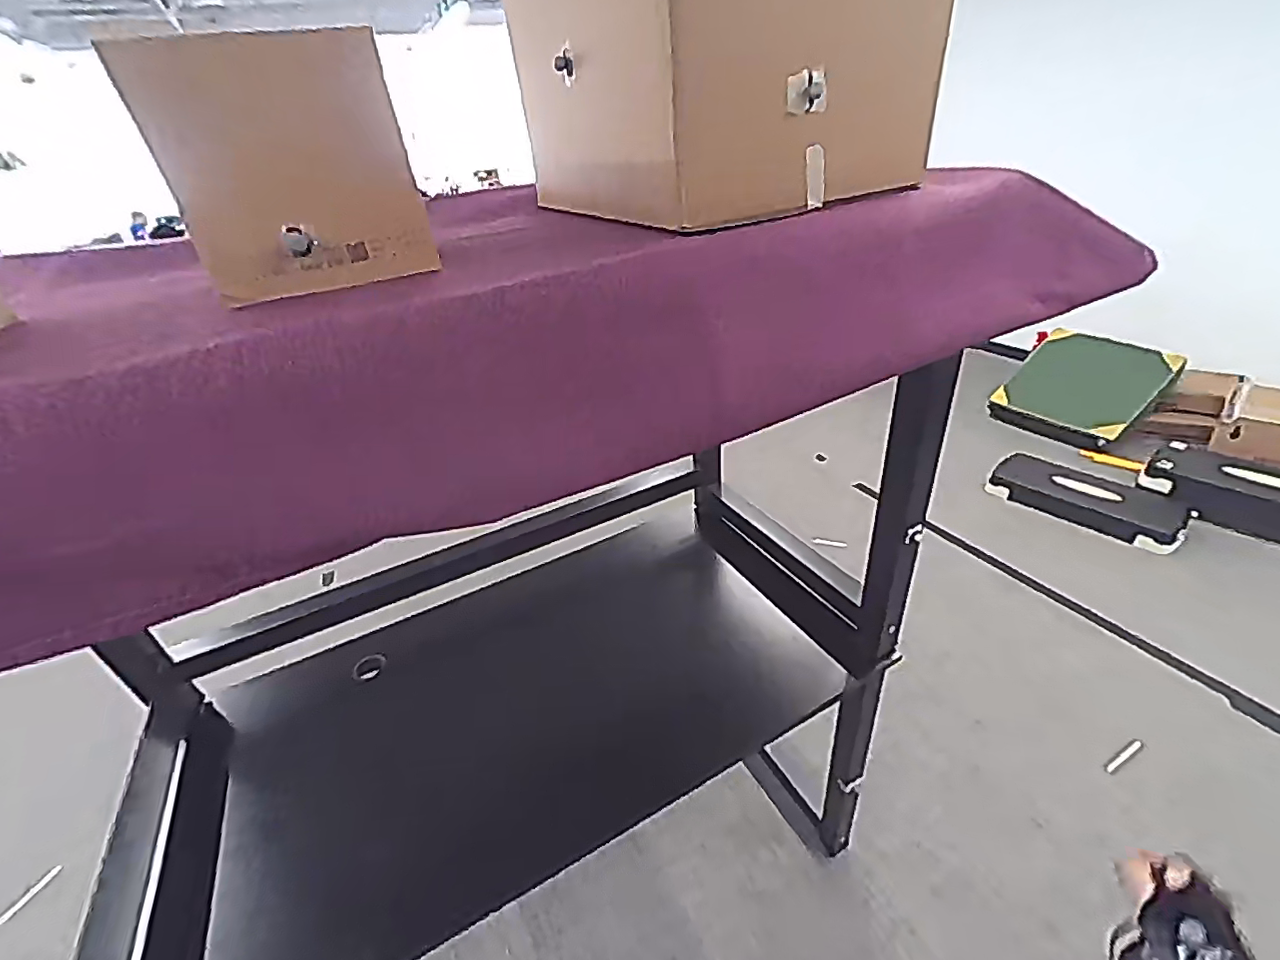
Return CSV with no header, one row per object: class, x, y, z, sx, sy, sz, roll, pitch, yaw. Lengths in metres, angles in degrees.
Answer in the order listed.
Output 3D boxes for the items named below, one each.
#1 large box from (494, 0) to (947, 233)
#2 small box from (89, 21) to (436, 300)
large box,0.060,-0.473,0.592,0.320,0.320,0.408,-20,34,-20
small box,-0.290,-0.262,0.459,0.168,0.176,0.179,-21,35,-19
